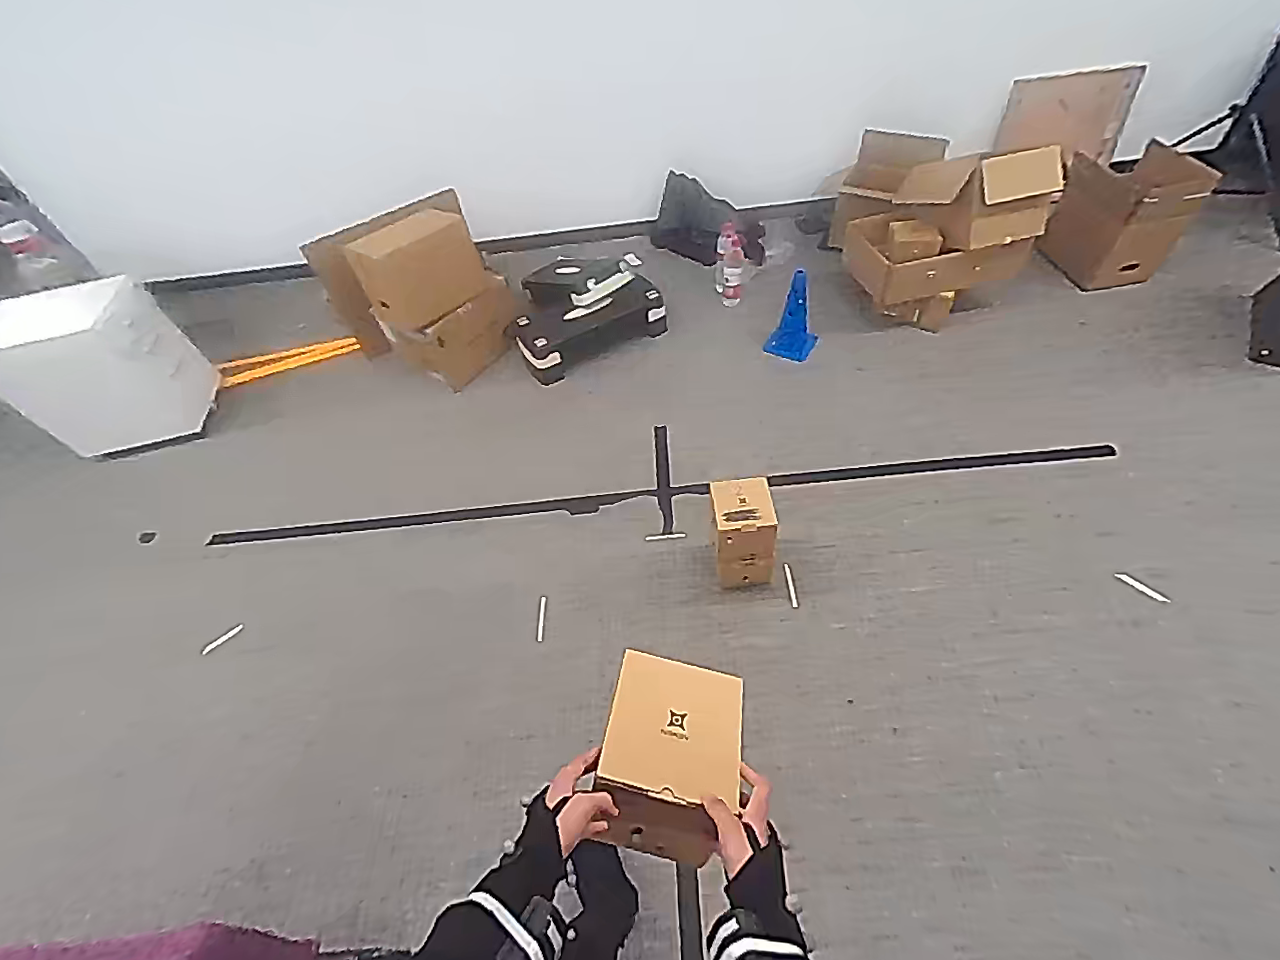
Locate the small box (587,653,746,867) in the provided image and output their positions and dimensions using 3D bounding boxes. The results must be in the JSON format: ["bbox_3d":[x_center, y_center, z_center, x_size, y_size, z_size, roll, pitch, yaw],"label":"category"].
[{"bbox_3d":[0.033,0.366,0.712,0.168,0.176,0.179,15,38,2],"label":"small box"}]

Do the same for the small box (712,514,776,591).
[{"bbox_3d":[0.323,0.231,1.718,0.168,0.176,0.179,-7,52,2],"label":"small box"}]
